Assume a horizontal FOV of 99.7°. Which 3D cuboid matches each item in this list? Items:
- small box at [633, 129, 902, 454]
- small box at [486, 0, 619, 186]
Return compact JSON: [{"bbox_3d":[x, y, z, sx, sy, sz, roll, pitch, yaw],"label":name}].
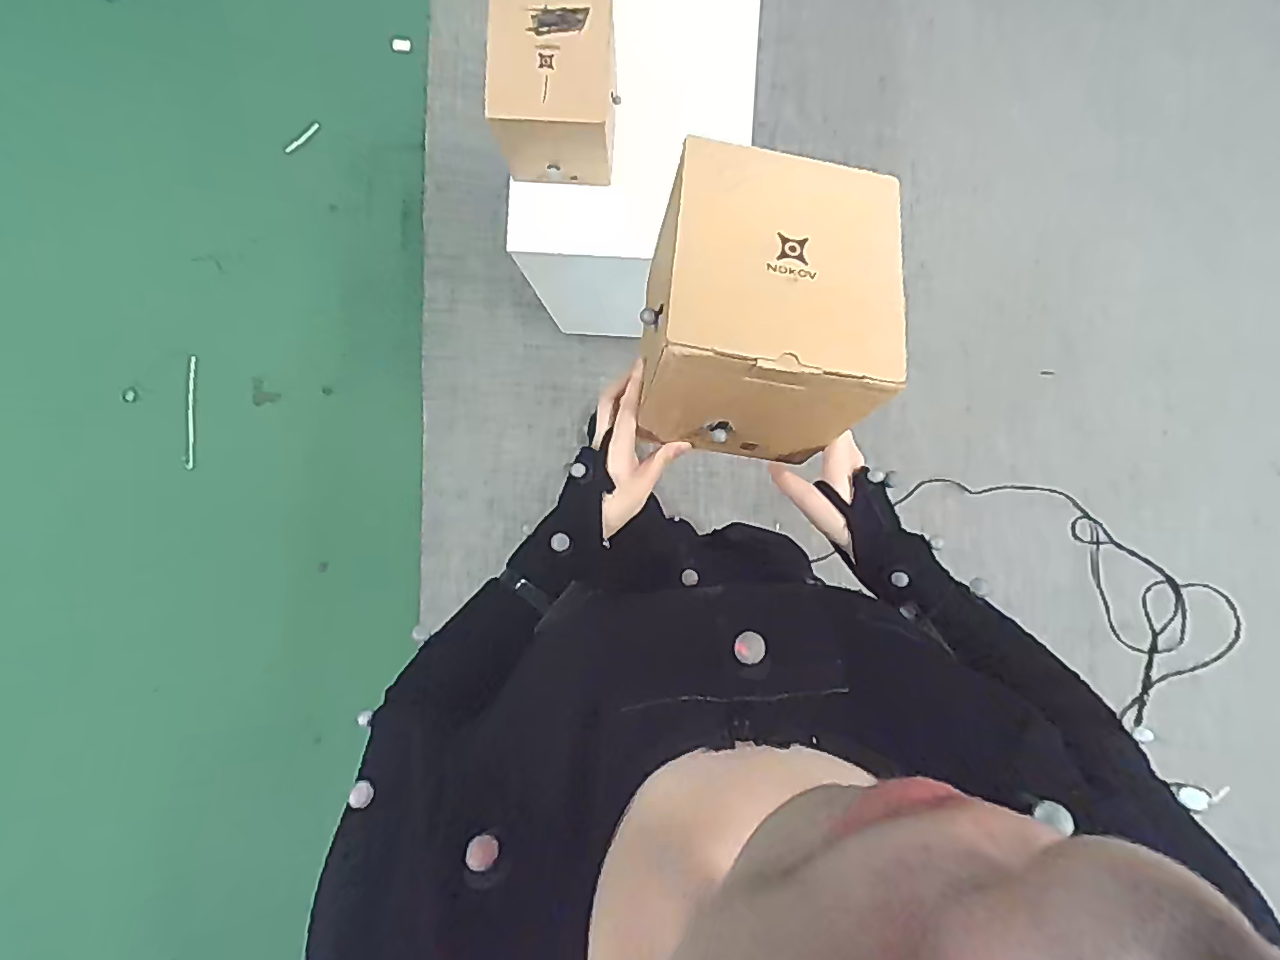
[{"bbox_3d":[0.092,-0.138,0.451,0.168,0.176,0.179,9,74,-6],"label":"small box"},{"bbox_3d":[-0.120,-0.573,0.805,0.168,0.176,0.179,3,92,1],"label":"small box"}]
